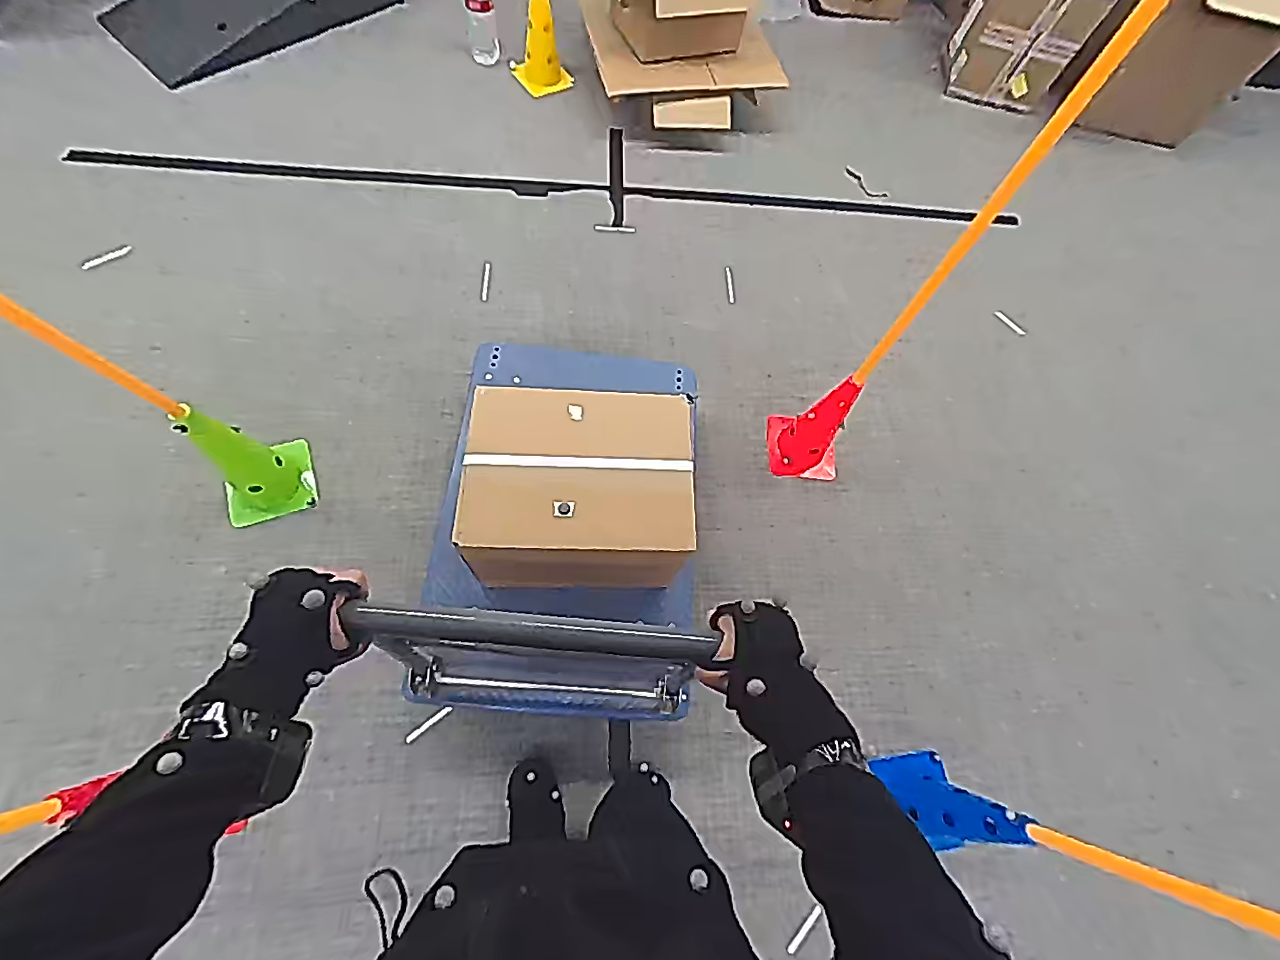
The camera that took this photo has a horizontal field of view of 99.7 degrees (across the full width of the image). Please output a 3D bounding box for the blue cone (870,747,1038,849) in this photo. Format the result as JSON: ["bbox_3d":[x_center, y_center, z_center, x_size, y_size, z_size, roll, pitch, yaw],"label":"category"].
[{"bbox_3d":[0.657,0.666,1.102,0.193,0.380,0.192,-3,66,-9],"label":"blue cone"}]

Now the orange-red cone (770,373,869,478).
[{"bbox_3d":[0.502,-0.170,1.430,0.199,0.360,0.198,7,67,-5],"label":"orange-red cone"}]
